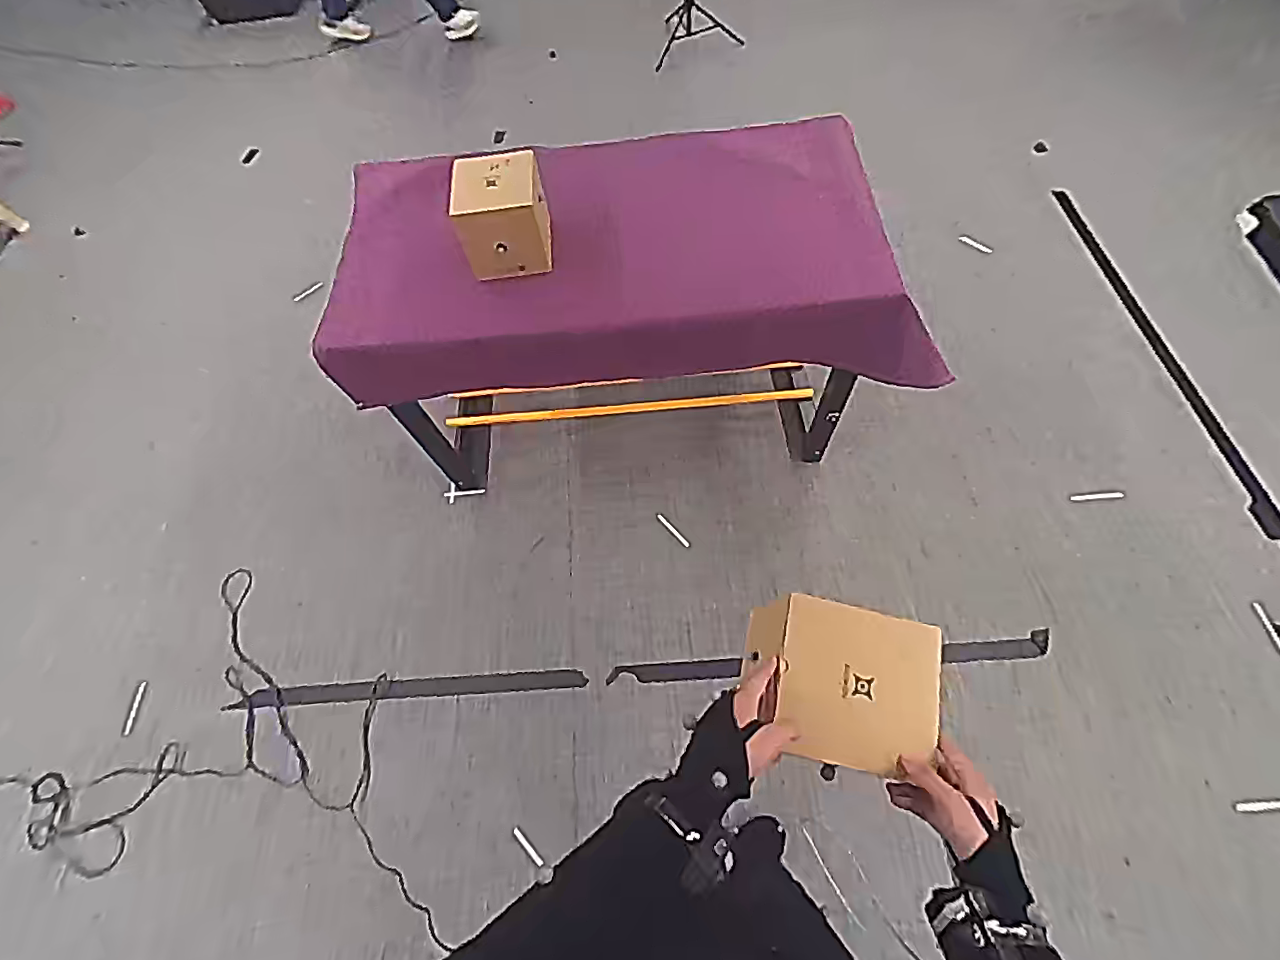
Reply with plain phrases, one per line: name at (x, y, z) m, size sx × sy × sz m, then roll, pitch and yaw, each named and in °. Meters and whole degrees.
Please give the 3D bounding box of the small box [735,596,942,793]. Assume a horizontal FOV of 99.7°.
small box at (0.225, 0.246, 0.643) m, size 0.179 × 0.176 × 0.168 m, roll 12°, pitch 70°, yaw 2°

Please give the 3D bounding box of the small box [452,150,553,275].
small box at (-0.282, -0.554, 1.143) m, size 0.168 × 0.176 × 0.179 m, roll -6°, pitch 63°, yaw 1°
